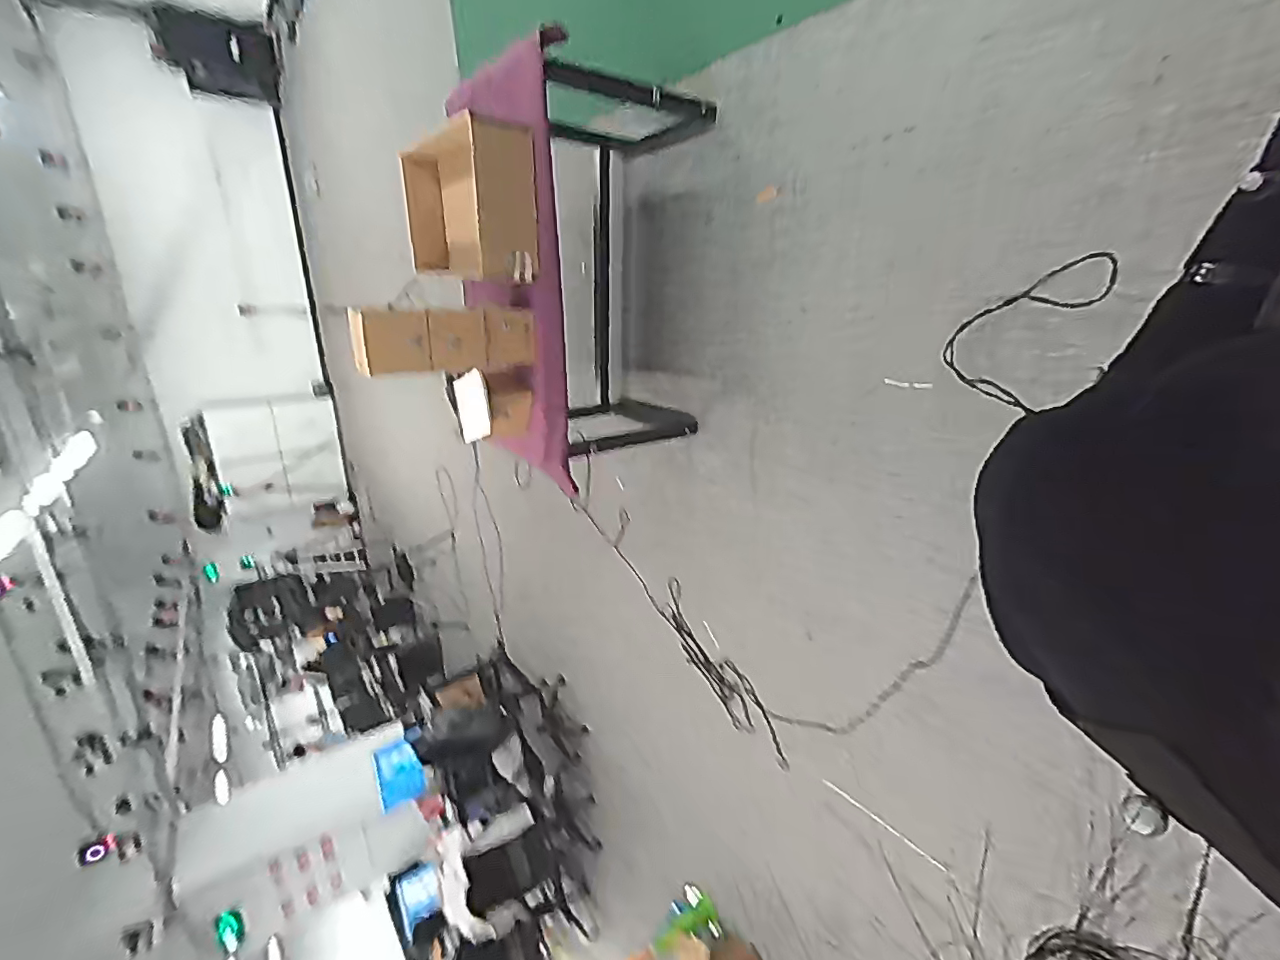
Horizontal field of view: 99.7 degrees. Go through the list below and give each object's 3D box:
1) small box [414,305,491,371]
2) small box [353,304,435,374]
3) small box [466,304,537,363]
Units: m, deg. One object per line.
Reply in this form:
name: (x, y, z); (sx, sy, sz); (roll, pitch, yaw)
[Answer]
small box: (-0.561, -0.431, 1.622); (0.168, 0.176, 0.179); (26, 121, 49)
small box: (-0.692, -0.400, 1.527); (0.168, 0.176, 0.179); (26, 120, 49)
small box: (-0.437, -0.470, 1.722); (0.179, 0.176, 0.168); (26, 121, 49)
